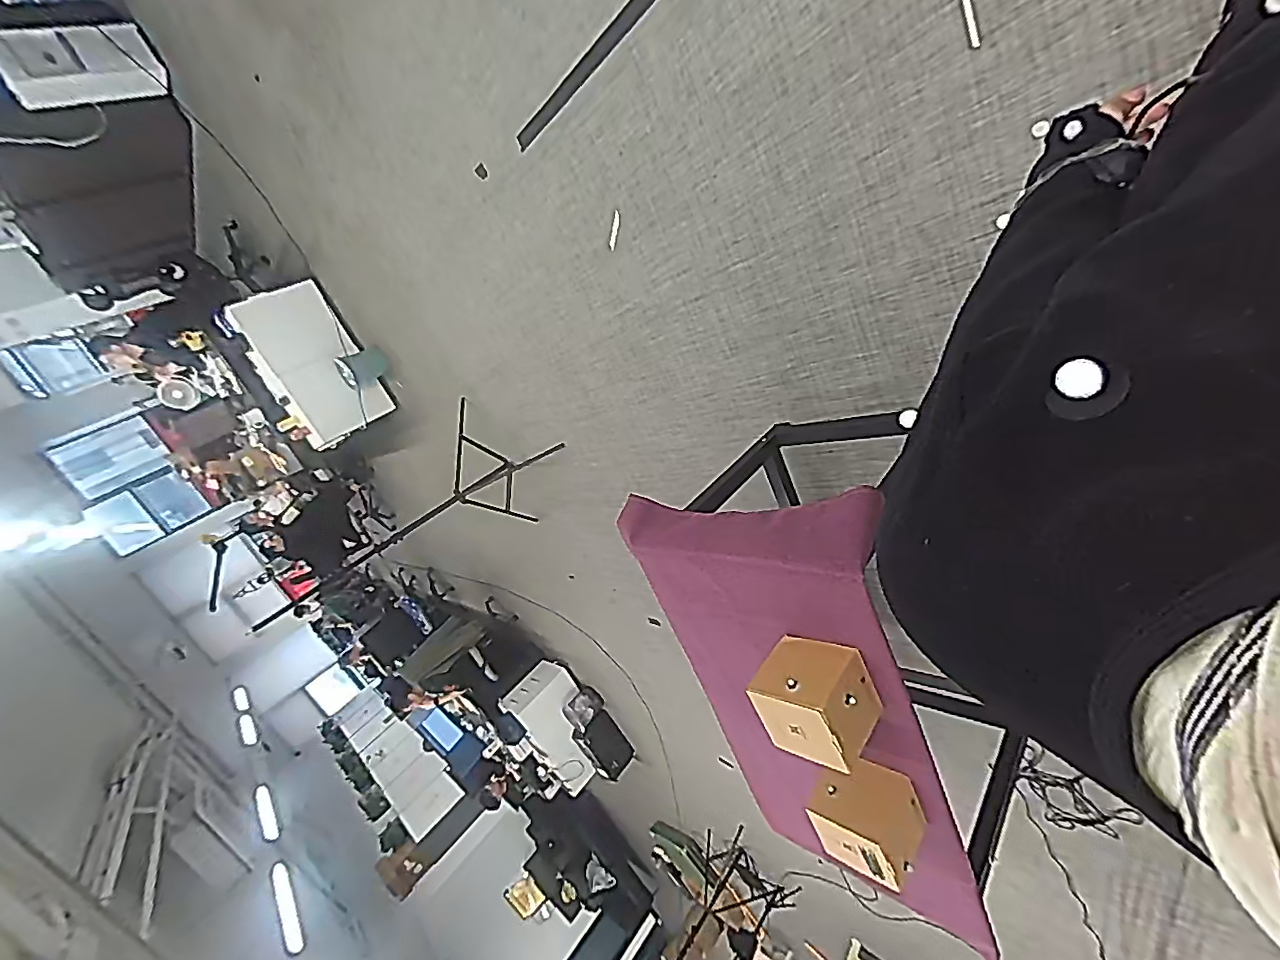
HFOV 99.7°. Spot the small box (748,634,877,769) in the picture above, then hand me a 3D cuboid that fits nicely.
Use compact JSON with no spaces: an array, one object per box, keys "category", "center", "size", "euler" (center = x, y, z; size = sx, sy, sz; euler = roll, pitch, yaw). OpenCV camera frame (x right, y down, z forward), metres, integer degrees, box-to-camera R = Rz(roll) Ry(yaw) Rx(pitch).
[{"category":"small box","center":[0.358,0.437,1.098],"size":[0.179,0.176,0.168],"euler":[-5,118,51]}]
